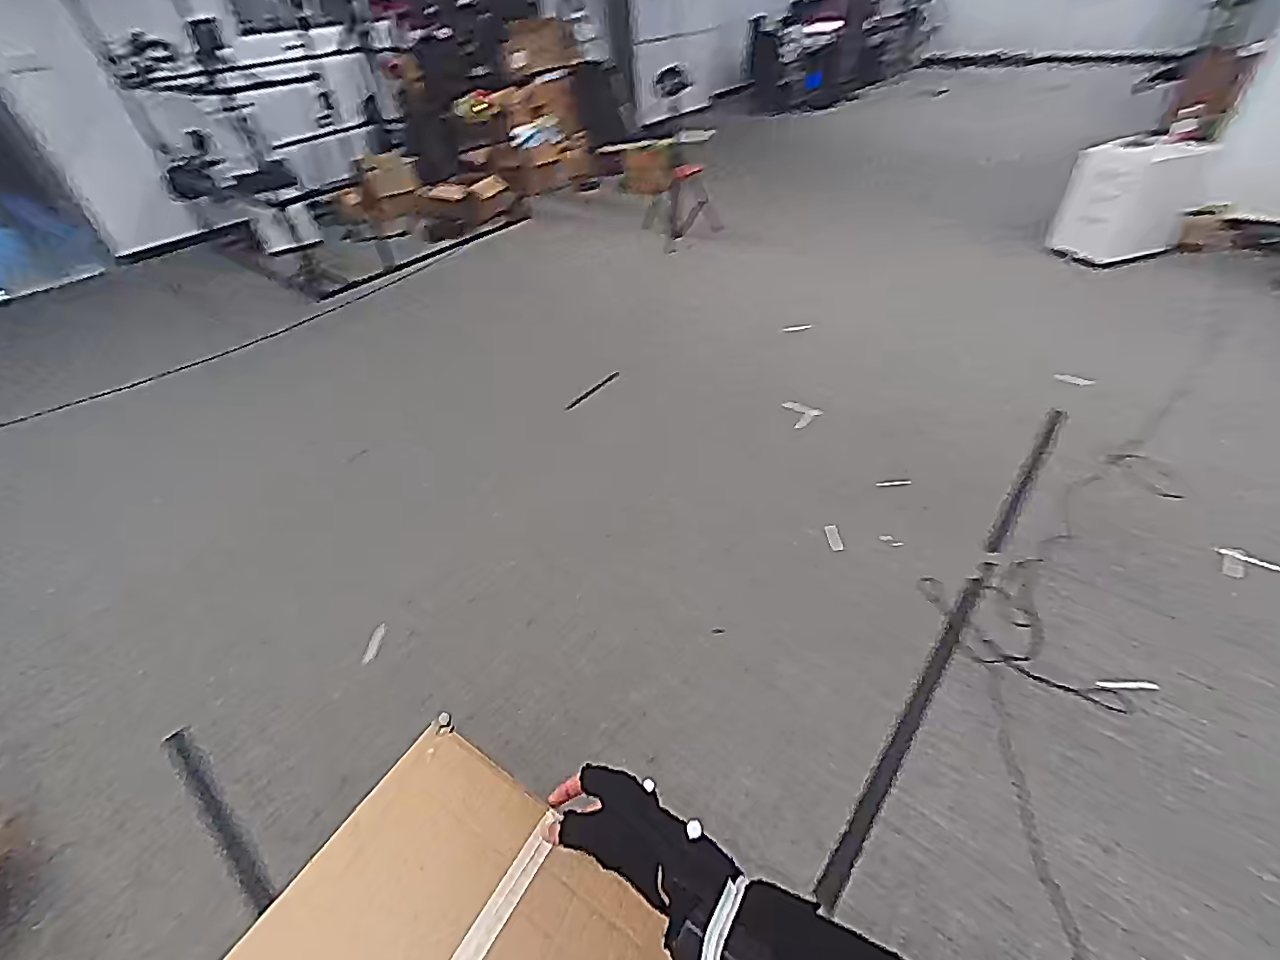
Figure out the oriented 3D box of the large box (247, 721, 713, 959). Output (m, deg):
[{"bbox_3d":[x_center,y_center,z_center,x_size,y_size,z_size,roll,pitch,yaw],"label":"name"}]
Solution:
[{"bbox_3d":[-0.176,0.533,0.497,0.320,0.320,0.408,28,51,21],"label":"large box"}]
